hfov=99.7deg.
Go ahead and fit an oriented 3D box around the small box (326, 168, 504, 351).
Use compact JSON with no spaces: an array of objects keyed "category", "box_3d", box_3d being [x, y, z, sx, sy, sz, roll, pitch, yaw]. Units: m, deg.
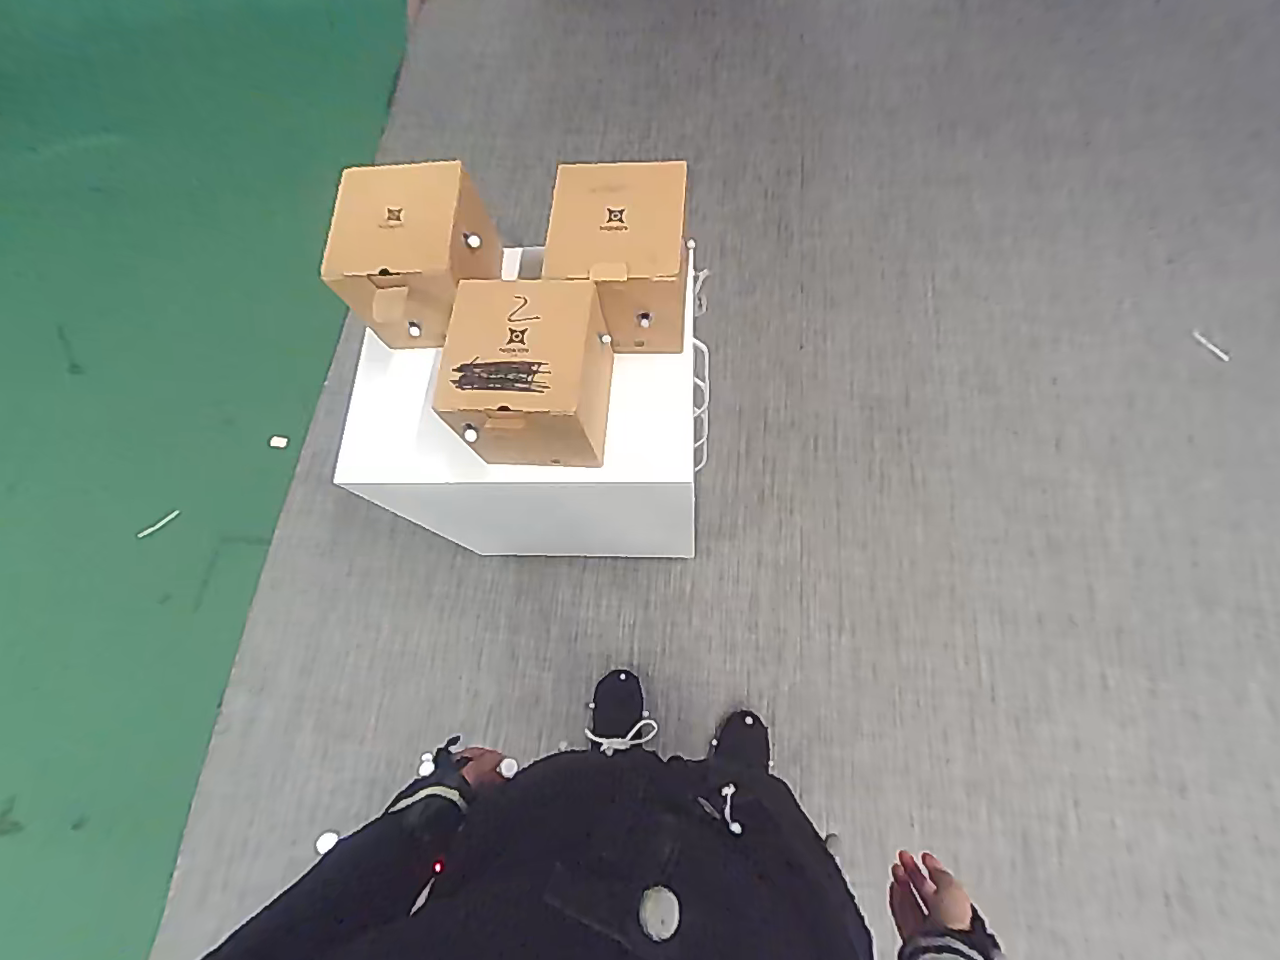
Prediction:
[{"category":"small box","box_3d":[-0.301,-0.303,0.766,0.168,0.176,0.179,-1,73,5]}]
